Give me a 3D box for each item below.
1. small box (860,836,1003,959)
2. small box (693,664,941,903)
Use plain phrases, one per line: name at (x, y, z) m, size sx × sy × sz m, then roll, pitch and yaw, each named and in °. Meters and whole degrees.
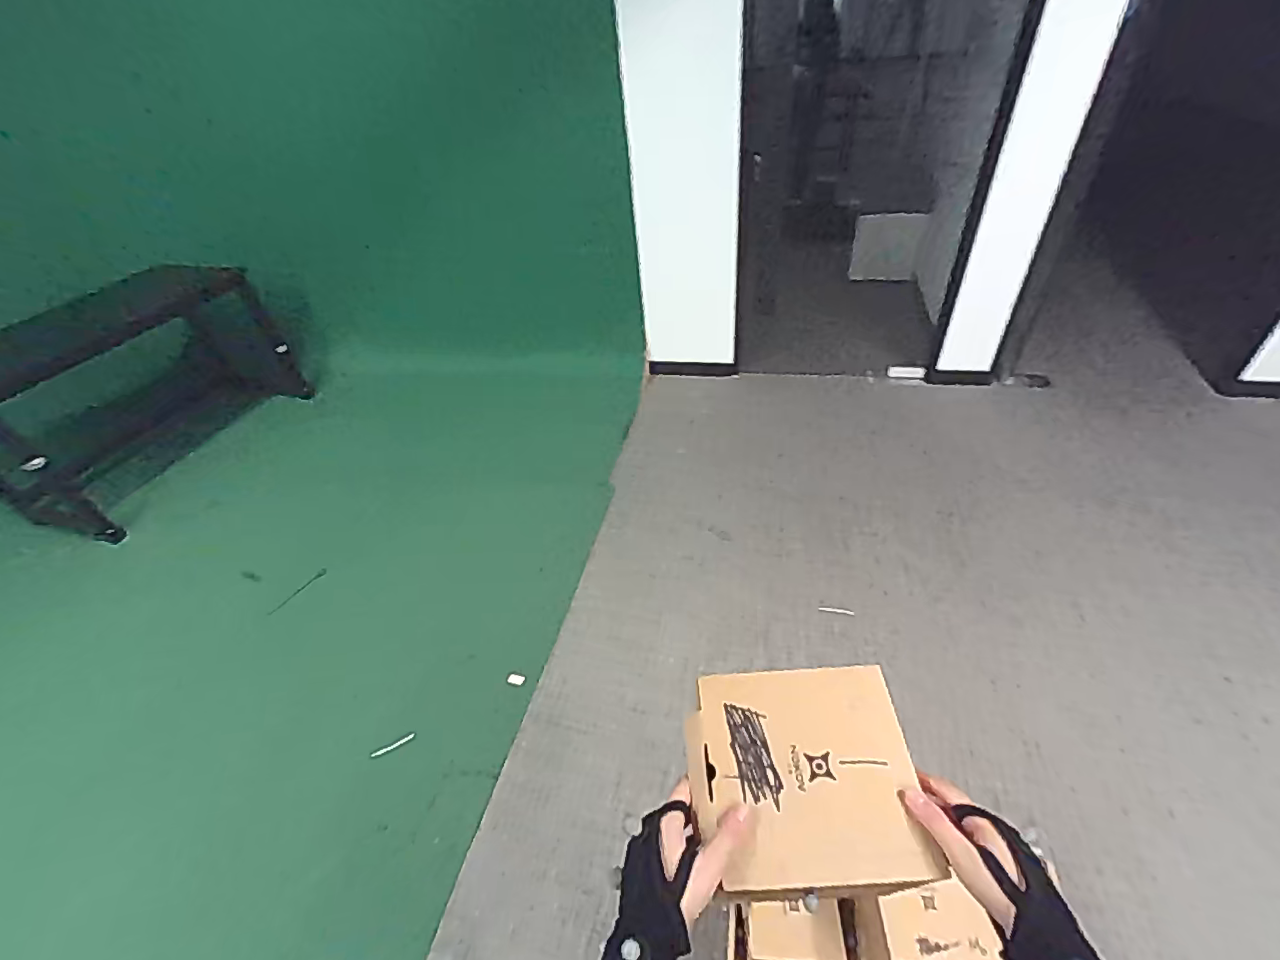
small box at (0.490, 0.750, 0.948) m, size 0.168 × 0.176 × 0.179 m, roll -2°, pitch 41°, yaw 7°
small box at (0.145, 0.294, 0.521) m, size 0.179 × 0.176 × 0.168 m, roll -4°, pitch 48°, yaw 0°
